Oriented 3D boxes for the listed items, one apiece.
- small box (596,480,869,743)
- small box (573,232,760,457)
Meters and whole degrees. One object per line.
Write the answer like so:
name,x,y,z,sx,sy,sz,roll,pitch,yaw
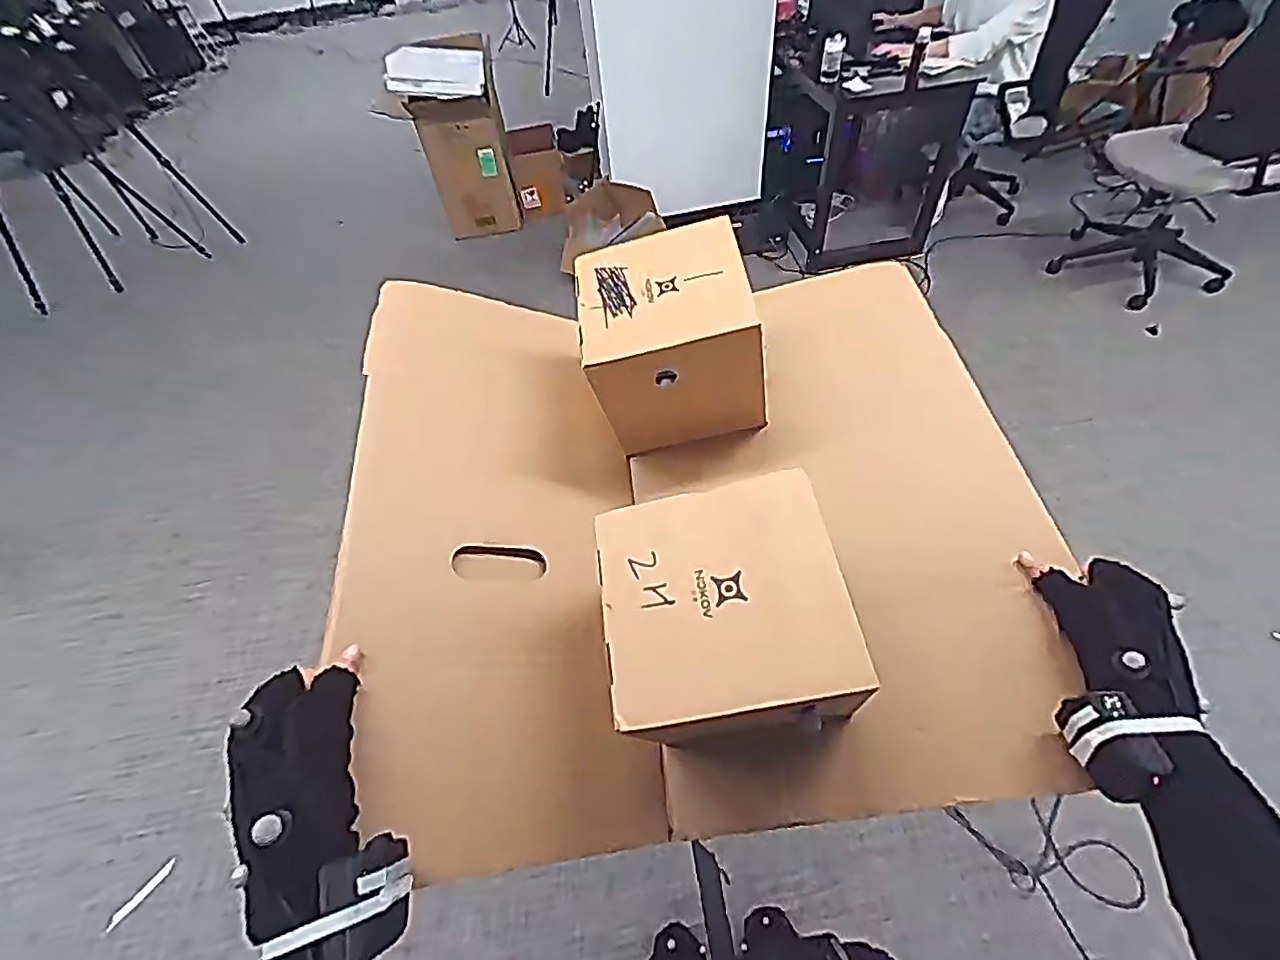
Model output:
small box,0.075,0.124,0.468,0.179,0.176,0.168,-14,59,9
small box,0.034,-0.146,0.628,0.179,0.176,0.168,-12,59,8
